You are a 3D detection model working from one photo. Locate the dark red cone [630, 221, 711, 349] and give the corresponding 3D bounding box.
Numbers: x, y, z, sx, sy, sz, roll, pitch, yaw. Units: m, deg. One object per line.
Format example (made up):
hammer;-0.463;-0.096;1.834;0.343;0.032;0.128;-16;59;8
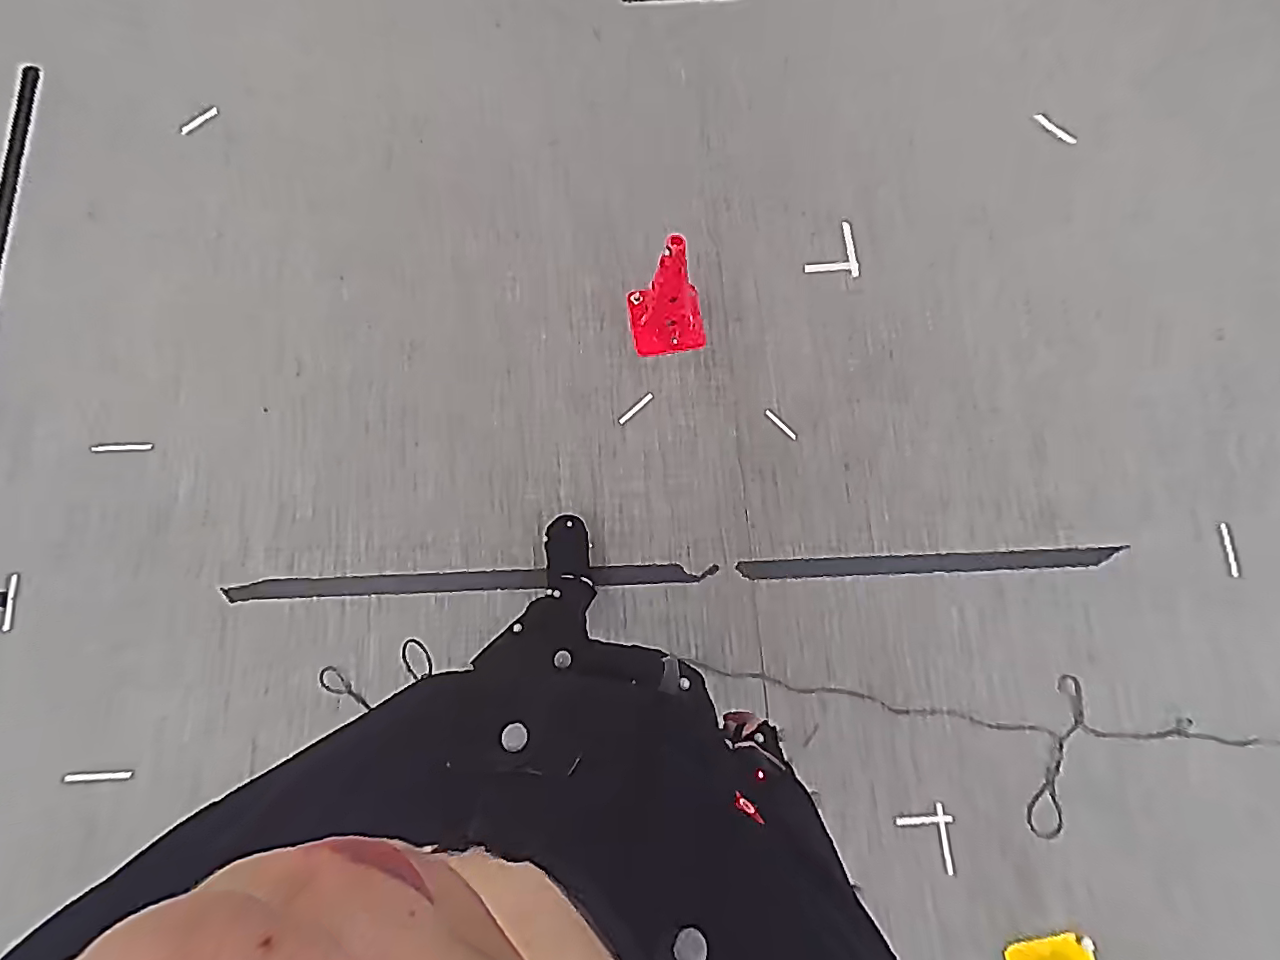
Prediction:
dark red cone;0.085;-0.485;1.304;0.202;0.394;0.201;-10;81;-3
